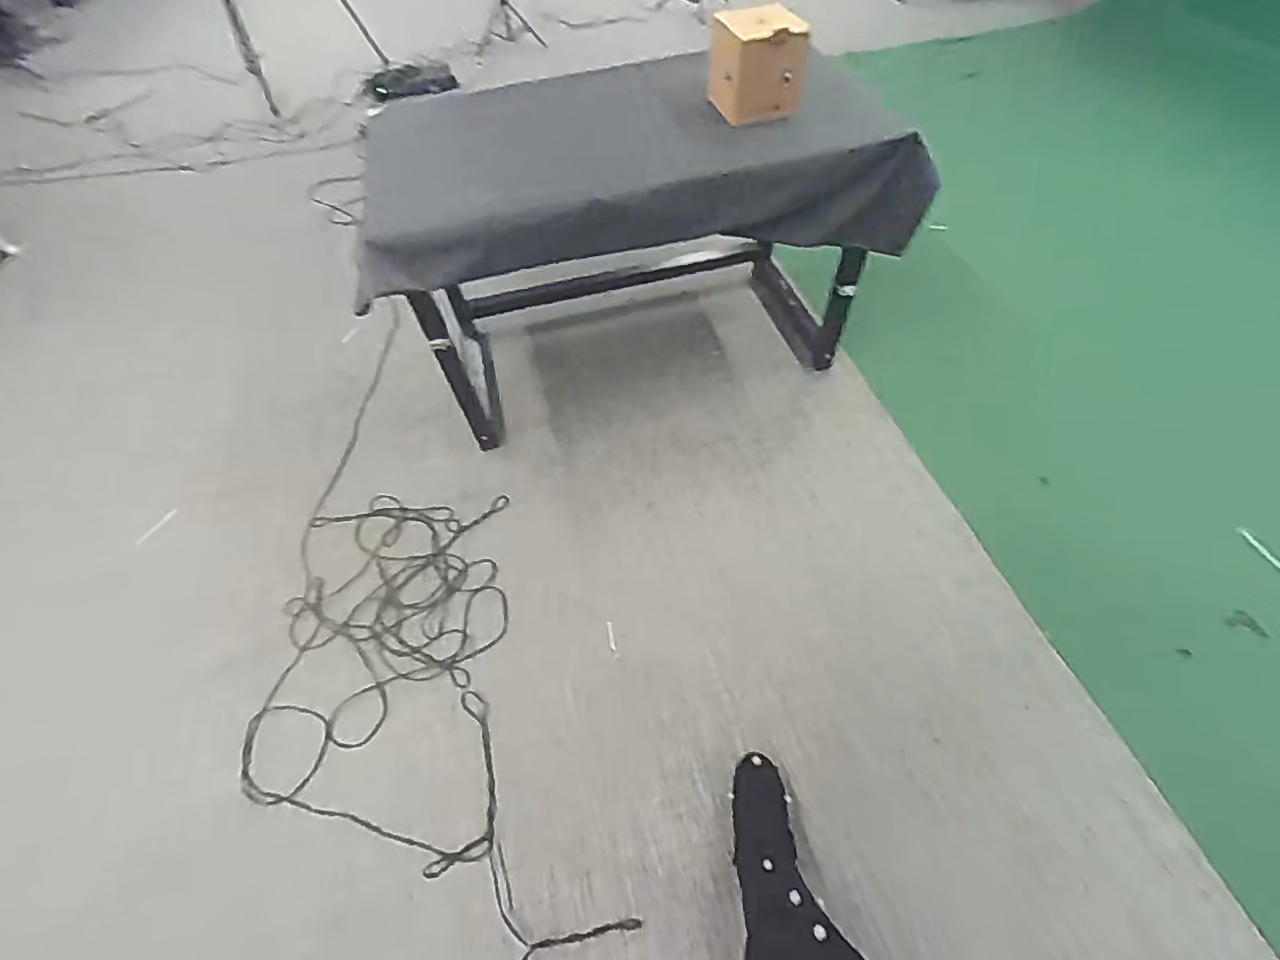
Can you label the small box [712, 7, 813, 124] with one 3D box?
[{"bbox_3d":[0.271,-0.942,1.239,0.168,0.176,0.179,-15,55,-7],"label":"small box"}]
